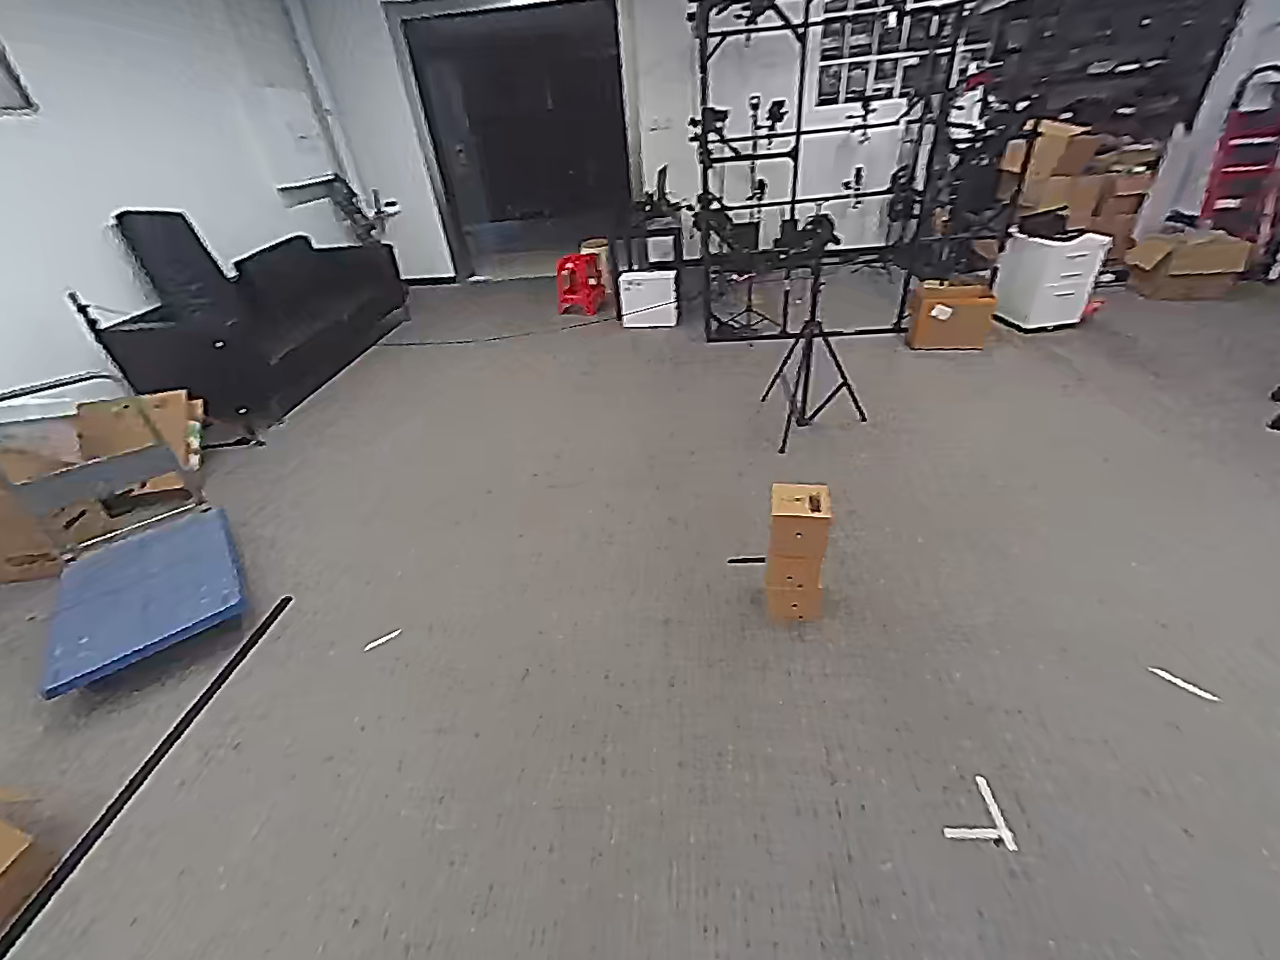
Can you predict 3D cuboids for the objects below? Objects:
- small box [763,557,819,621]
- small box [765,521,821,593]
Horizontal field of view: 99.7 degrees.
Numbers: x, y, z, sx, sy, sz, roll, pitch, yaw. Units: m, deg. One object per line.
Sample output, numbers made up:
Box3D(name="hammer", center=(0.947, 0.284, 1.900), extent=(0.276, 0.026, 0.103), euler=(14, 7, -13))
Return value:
Box3D(name="small box", center=(0.539, 0.391, 1.944), extent=(0.168, 0.176, 0.179), euler=(-2, 34, 5))
Box3D(name="small box", center=(0.519, 0.260, 1.850), extent=(0.168, 0.176, 0.179), euler=(1, 36, 10))
